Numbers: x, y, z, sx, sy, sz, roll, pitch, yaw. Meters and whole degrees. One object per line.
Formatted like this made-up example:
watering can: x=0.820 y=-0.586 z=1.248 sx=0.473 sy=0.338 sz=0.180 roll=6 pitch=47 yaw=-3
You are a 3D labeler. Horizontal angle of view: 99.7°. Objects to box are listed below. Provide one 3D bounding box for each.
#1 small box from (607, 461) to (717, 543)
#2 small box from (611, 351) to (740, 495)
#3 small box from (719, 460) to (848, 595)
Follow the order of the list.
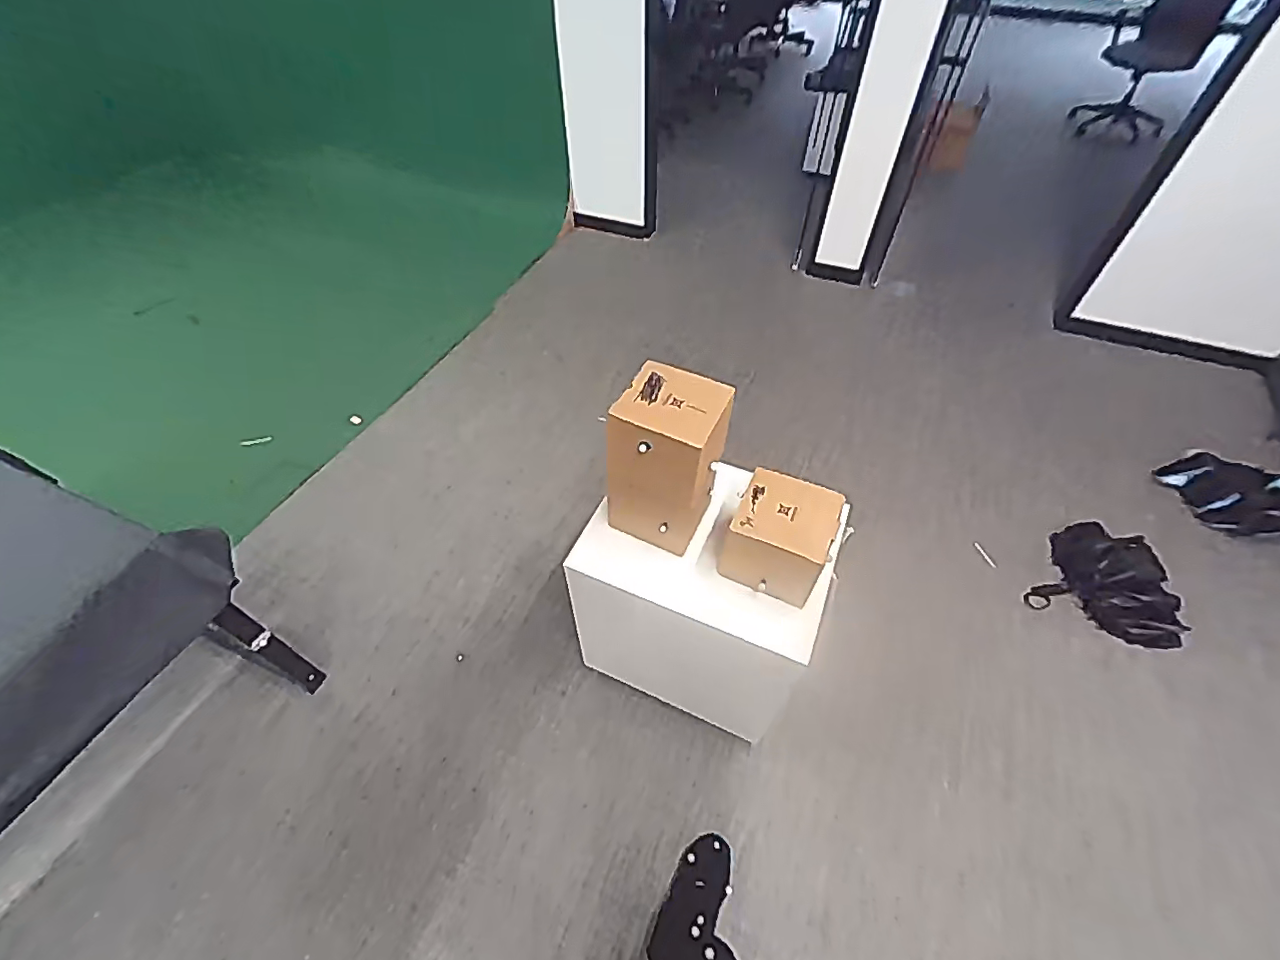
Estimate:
small box: x=0.047 y=0.005 z=1.108 sx=0.179 sy=0.176 sz=0.168 roll=21 pitch=53 yaw=15
small box: x=0.059 y=-0.099 z=0.981 sx=0.179 sy=0.176 sz=0.168 roll=23 pitch=54 yaw=14
small box: x=0.269 y=0.097 z=1.040 sx=0.179 sy=0.176 sz=0.168 roll=22 pitch=55 yaw=15
